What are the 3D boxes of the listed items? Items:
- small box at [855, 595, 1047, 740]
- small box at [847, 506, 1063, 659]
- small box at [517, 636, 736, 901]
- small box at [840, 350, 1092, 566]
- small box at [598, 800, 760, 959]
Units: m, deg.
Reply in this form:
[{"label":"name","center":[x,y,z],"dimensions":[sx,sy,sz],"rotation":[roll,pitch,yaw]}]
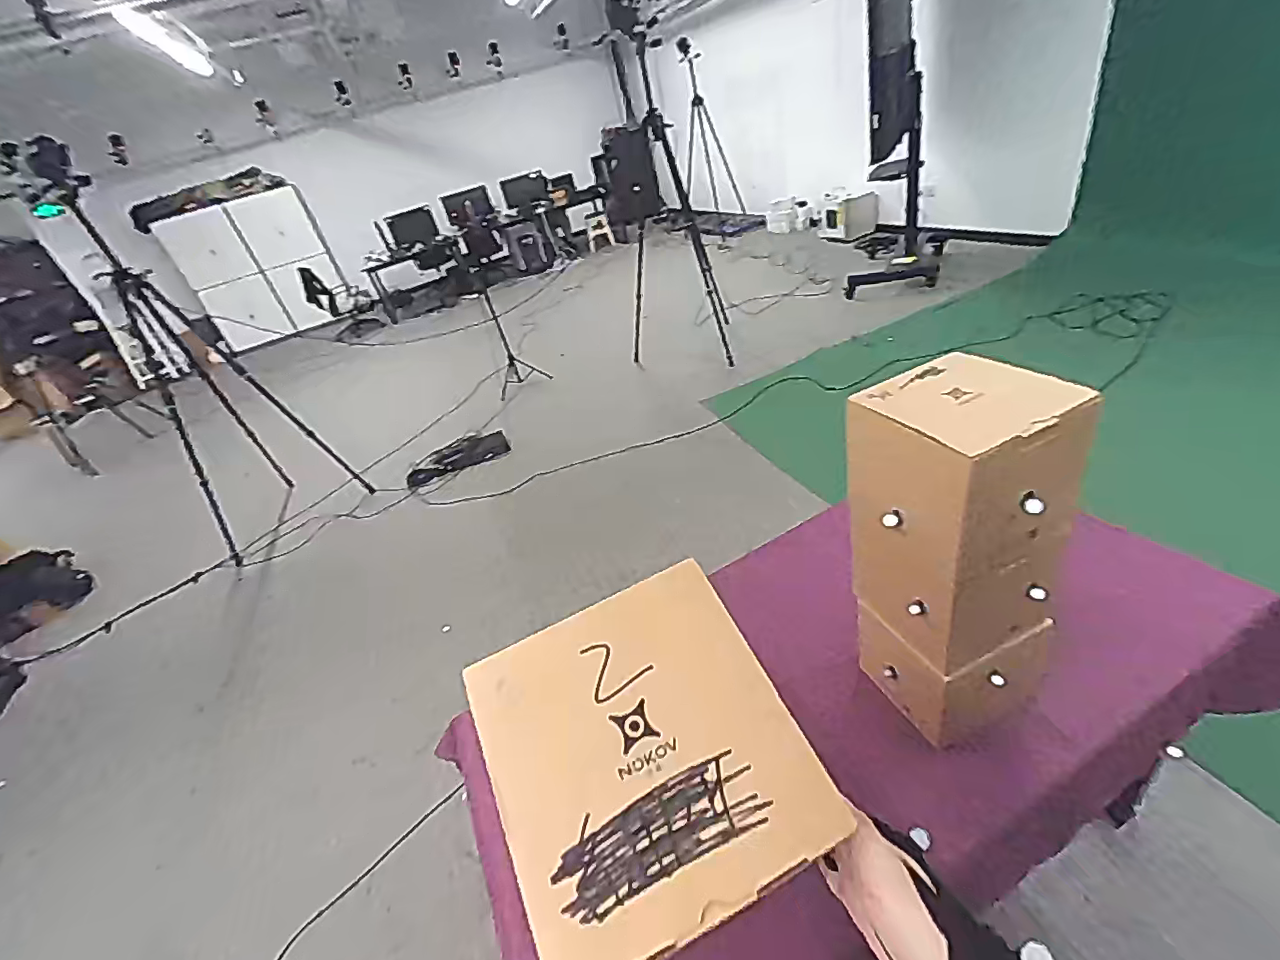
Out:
[{"label":"small box","center":[0.445,0.241,0.794],"dimensions":[0.179,0.176,0.168],"rotation":[-23,34,-9]},{"label":"small box","center":[0.400,0.107,0.713],"dimensions":[0.168,0.176,0.179],"rotation":[-23,33,-9]},{"label":"small box","center":[-0.013,0.318,0.598],"dimensions":[0.168,0.176,0.179],"rotation":[-26,32,-14]},{"label":"small box","center":[0.356,-0.023,0.623],"dimensions":[0.168,0.176,0.179],"rotation":[-23,34,-10]},{"label":"small box","center":[0.031,0.451,0.683],"dimensions":[0.179,0.176,0.168],"rotation":[-25,33,-13]}]
